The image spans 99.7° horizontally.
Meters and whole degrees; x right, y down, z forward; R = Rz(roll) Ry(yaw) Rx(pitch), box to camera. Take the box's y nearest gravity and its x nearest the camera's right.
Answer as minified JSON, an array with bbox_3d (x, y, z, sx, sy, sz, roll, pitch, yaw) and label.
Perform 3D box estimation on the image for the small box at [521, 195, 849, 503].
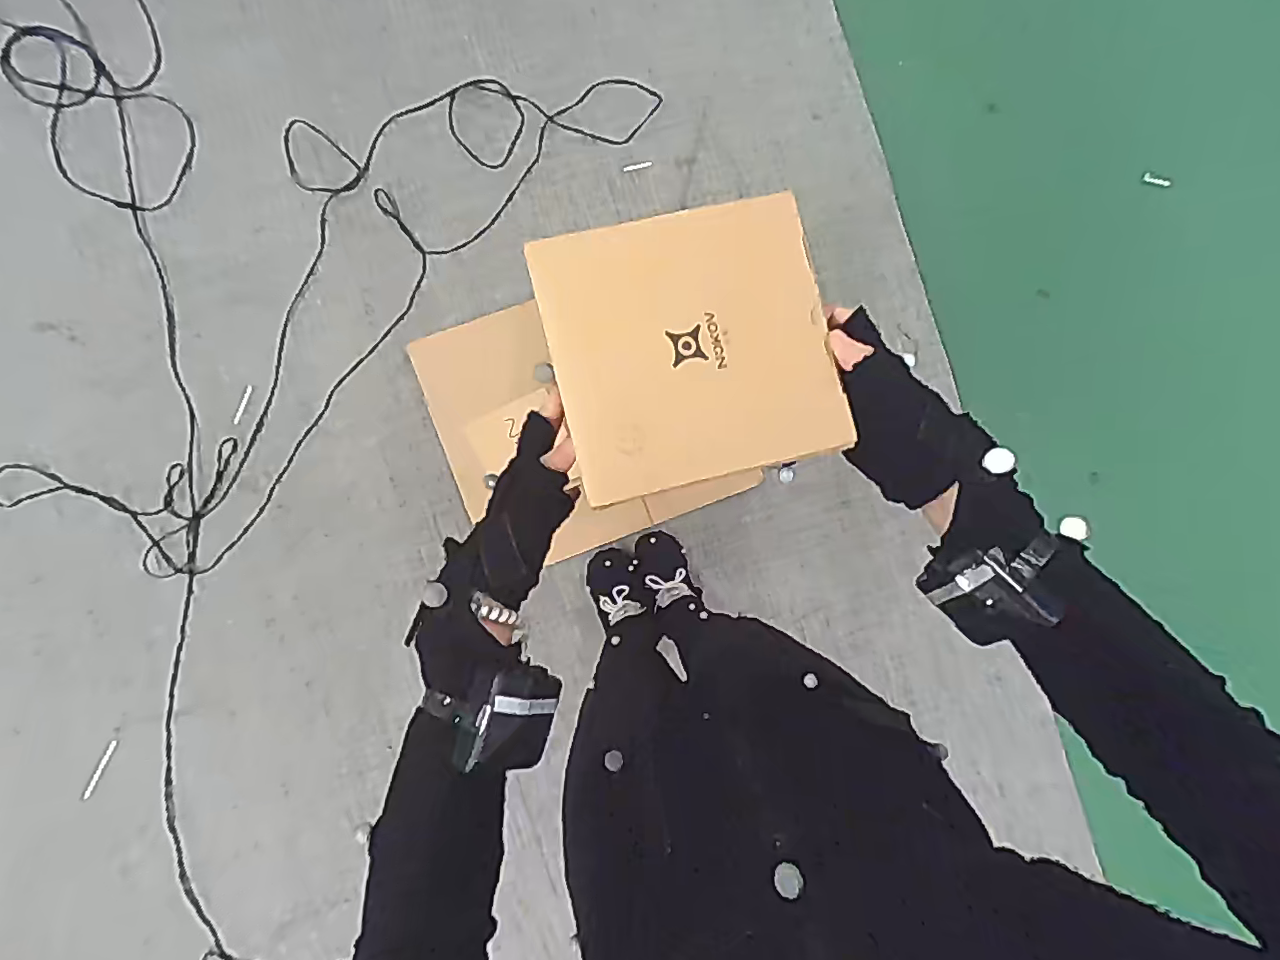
[{"bbox_3d":[0.023,-0.079,0.413,0.179,0.176,0.168,-14,89,-6],"label":"small box"}]

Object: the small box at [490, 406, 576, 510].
[{"bbox_3d":[-0.210,-0.048,1.211,0.168,0.176,0.179,-25,91,-3],"label":"small box"}]
